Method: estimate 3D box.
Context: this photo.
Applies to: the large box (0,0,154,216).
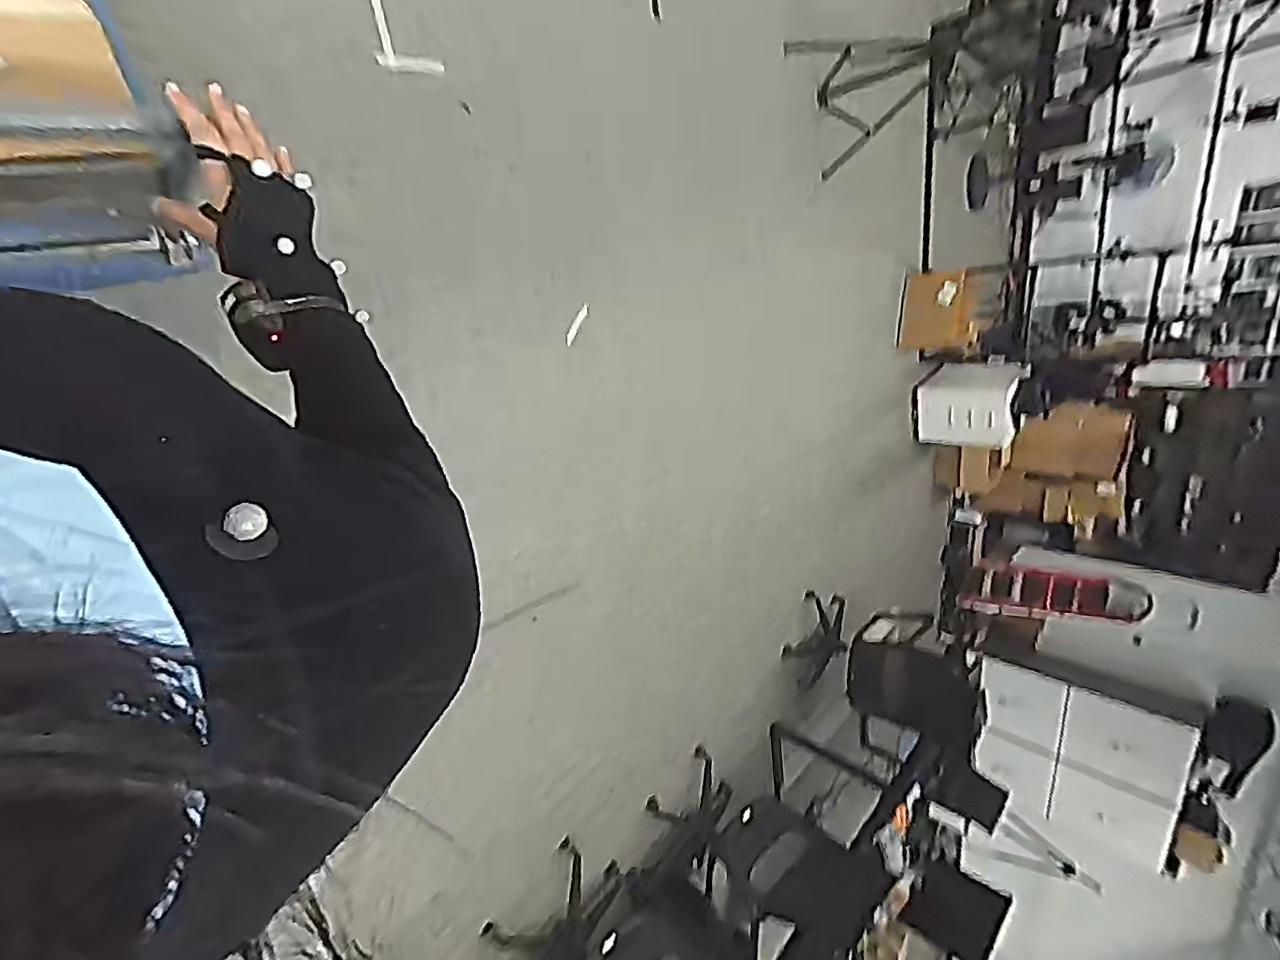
[{"bbox_3d":[-0.944,-0.522,0.675,0.408,0.320,0.320,-32,120,-37],"label":"large box"}]
